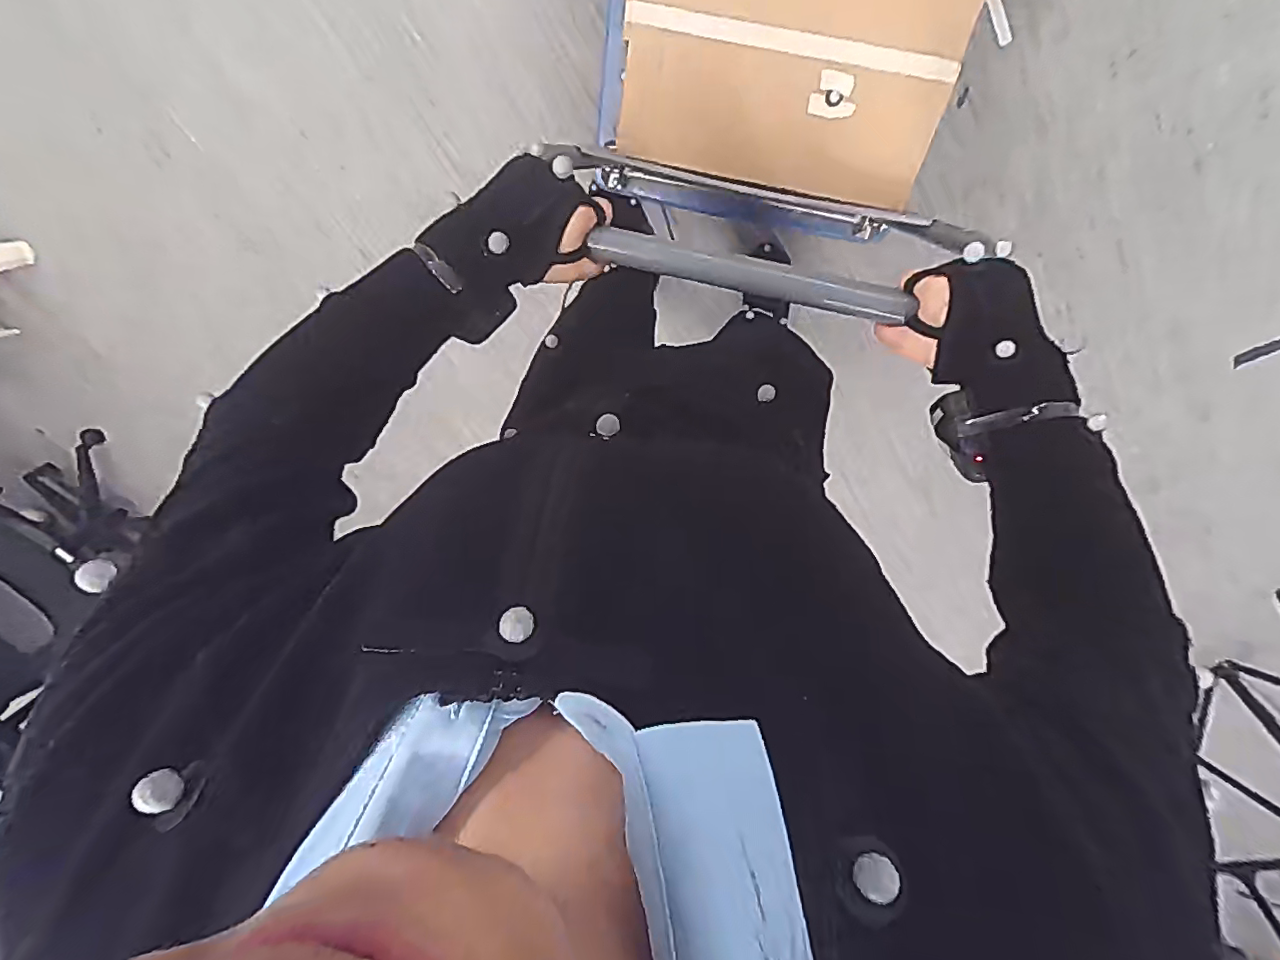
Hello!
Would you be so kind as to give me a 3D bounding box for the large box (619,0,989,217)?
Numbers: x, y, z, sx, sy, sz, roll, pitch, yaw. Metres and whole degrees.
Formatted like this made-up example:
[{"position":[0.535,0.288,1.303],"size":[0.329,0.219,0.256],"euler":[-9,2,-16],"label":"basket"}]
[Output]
[{"position":[0.205,-0.599,0.777],"size":[0.408,0.320,0.320],"euler":[12,124,1],"label":"large box"}]
